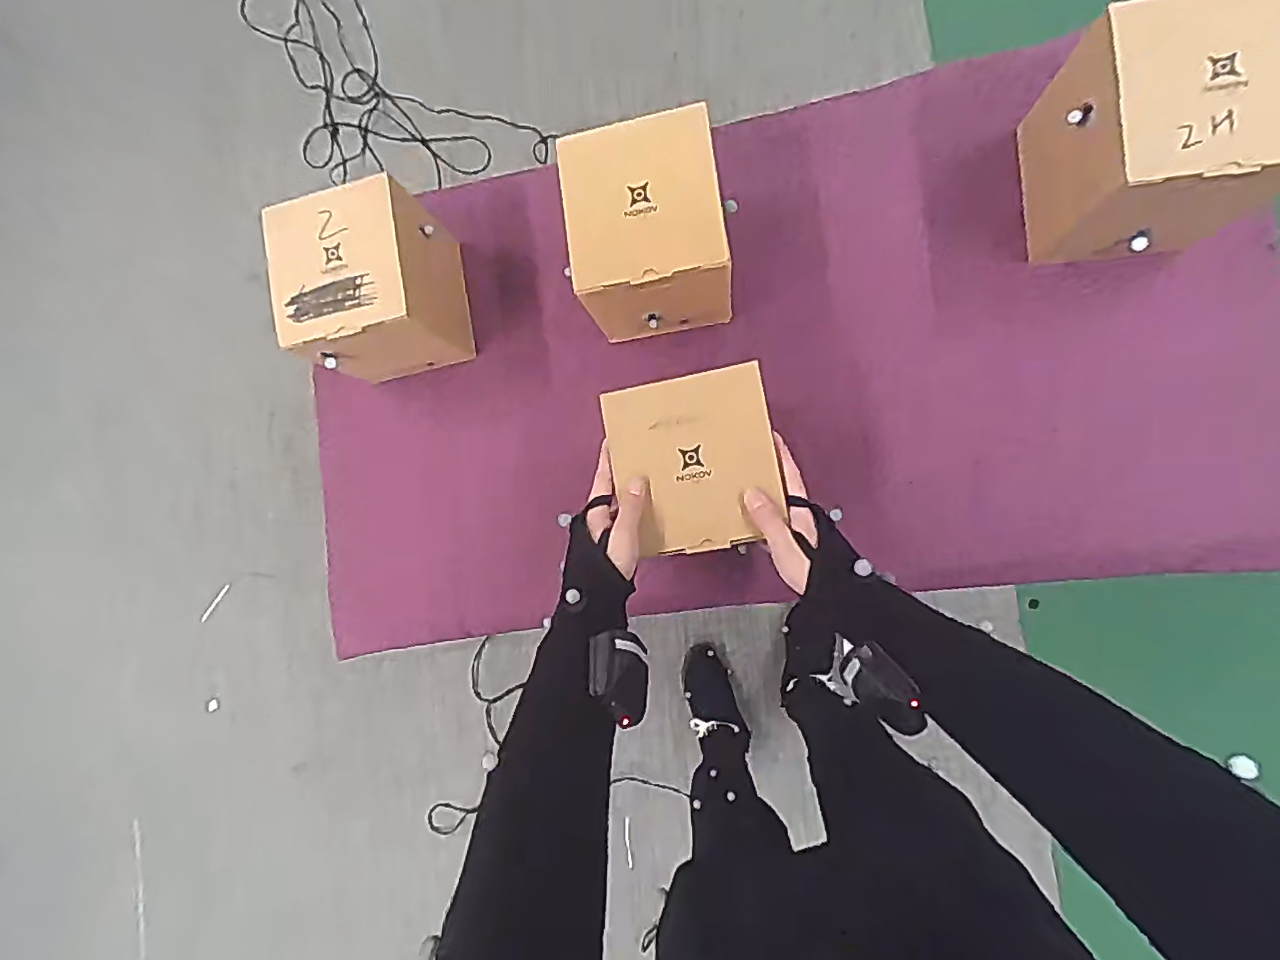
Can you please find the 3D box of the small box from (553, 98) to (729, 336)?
[{"bbox_3d":[0.010,-0.290,0.634,0.168,0.176,0.179,-9,87,9],"label":"small box"}]

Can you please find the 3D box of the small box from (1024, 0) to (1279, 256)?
[{"bbox_3d":[0.518,-0.353,0.543,0.168,0.176,0.179,-3,87,11],"label":"small box"}]

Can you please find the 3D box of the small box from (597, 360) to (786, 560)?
[{"bbox_3d":[0.062,-0.015,0.611,0.168,0.176,0.179,-11,85,9],"label":"small box"}]
